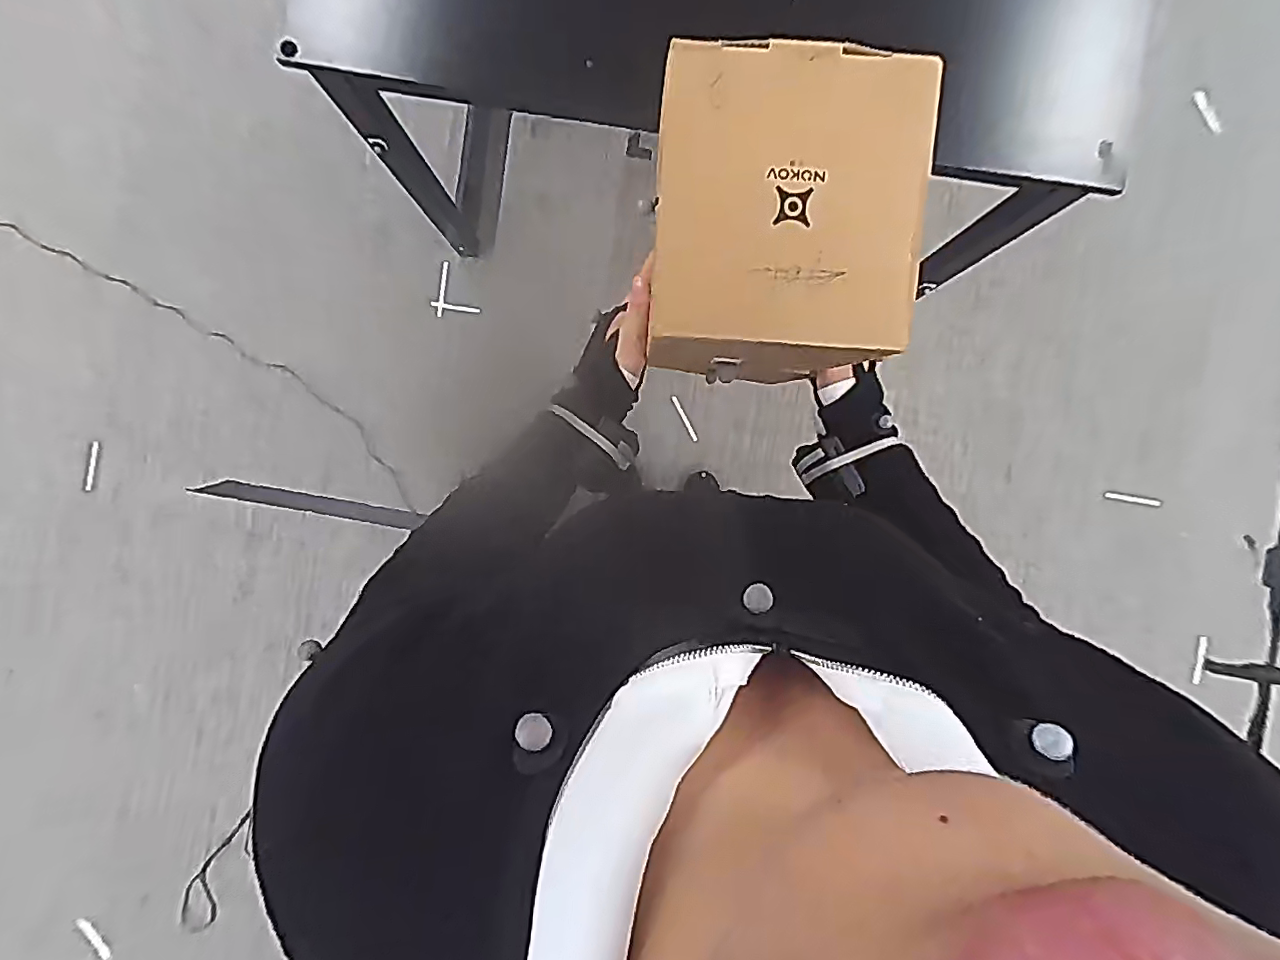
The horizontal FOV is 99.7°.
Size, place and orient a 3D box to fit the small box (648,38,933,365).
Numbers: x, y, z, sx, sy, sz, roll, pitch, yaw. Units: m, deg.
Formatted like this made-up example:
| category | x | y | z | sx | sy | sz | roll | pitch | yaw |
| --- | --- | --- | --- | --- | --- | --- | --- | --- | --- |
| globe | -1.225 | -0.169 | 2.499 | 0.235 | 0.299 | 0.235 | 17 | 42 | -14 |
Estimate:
| category | x | y | z | sx | sy | sz | roll | pitch | yaw |
| --- | --- | --- | --- | --- | --- | --- | --- | --- | --- |
| small box | 0.094 | -0.189 | 0.419 | 0.168 | 0.176 | 0.179 | 3 | 98 | 0 |
